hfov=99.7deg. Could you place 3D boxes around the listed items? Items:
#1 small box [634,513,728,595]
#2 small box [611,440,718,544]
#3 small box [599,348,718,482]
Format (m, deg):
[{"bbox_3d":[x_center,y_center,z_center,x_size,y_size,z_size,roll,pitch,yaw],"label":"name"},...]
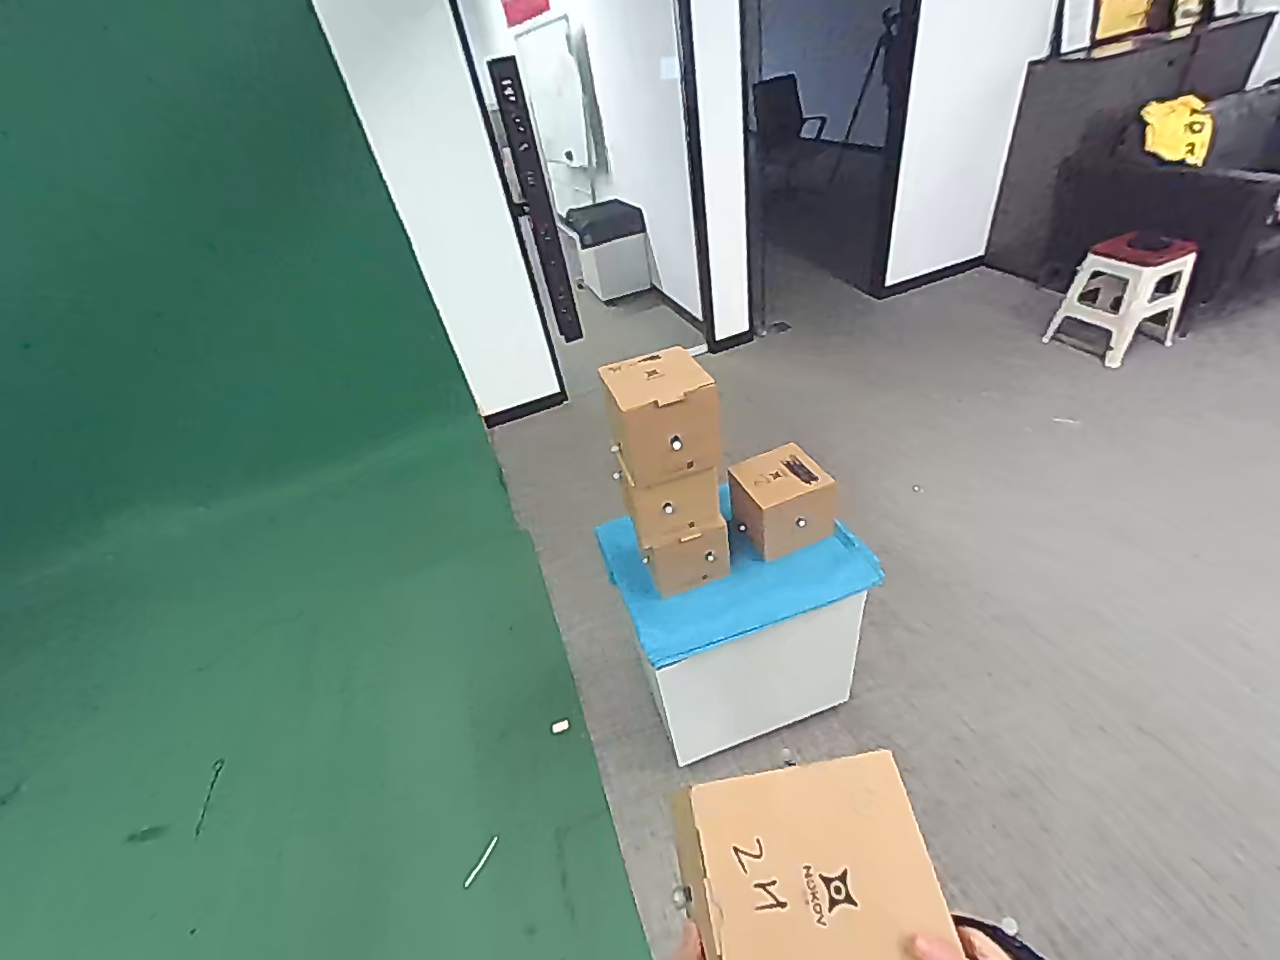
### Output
[{"bbox_3d":[0.087,0.131,1.194,0.168,0.176,0.179,-17,38,-9],"label":"small box"},{"bbox_3d":[0.051,0.009,1.093,0.168,0.176,0.179,-16,37,-8],"label":"small box"},{"bbox_3d":[0.036,-0.114,0.985,0.168,0.176,0.179,-16,38,-8],"label":"small box"}]
